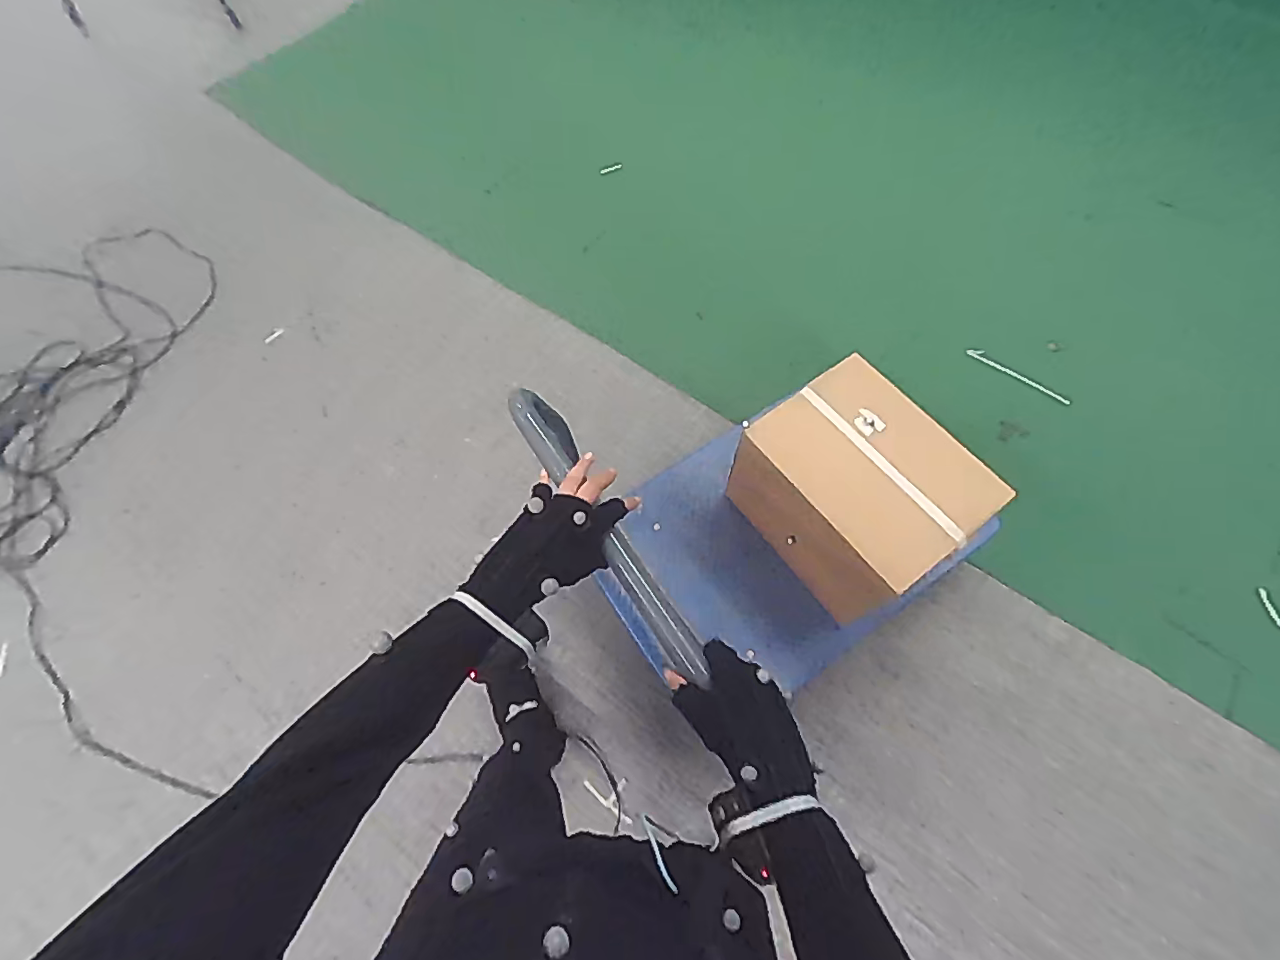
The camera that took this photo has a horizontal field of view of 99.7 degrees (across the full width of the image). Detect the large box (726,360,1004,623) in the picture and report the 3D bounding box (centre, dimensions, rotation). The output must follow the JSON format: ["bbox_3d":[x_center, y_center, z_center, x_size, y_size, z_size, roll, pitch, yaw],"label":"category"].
[{"bbox_3d":[0.440,0.034,1.162,0.320,0.320,0.408,-34,68,-14],"label":"large box"}]
